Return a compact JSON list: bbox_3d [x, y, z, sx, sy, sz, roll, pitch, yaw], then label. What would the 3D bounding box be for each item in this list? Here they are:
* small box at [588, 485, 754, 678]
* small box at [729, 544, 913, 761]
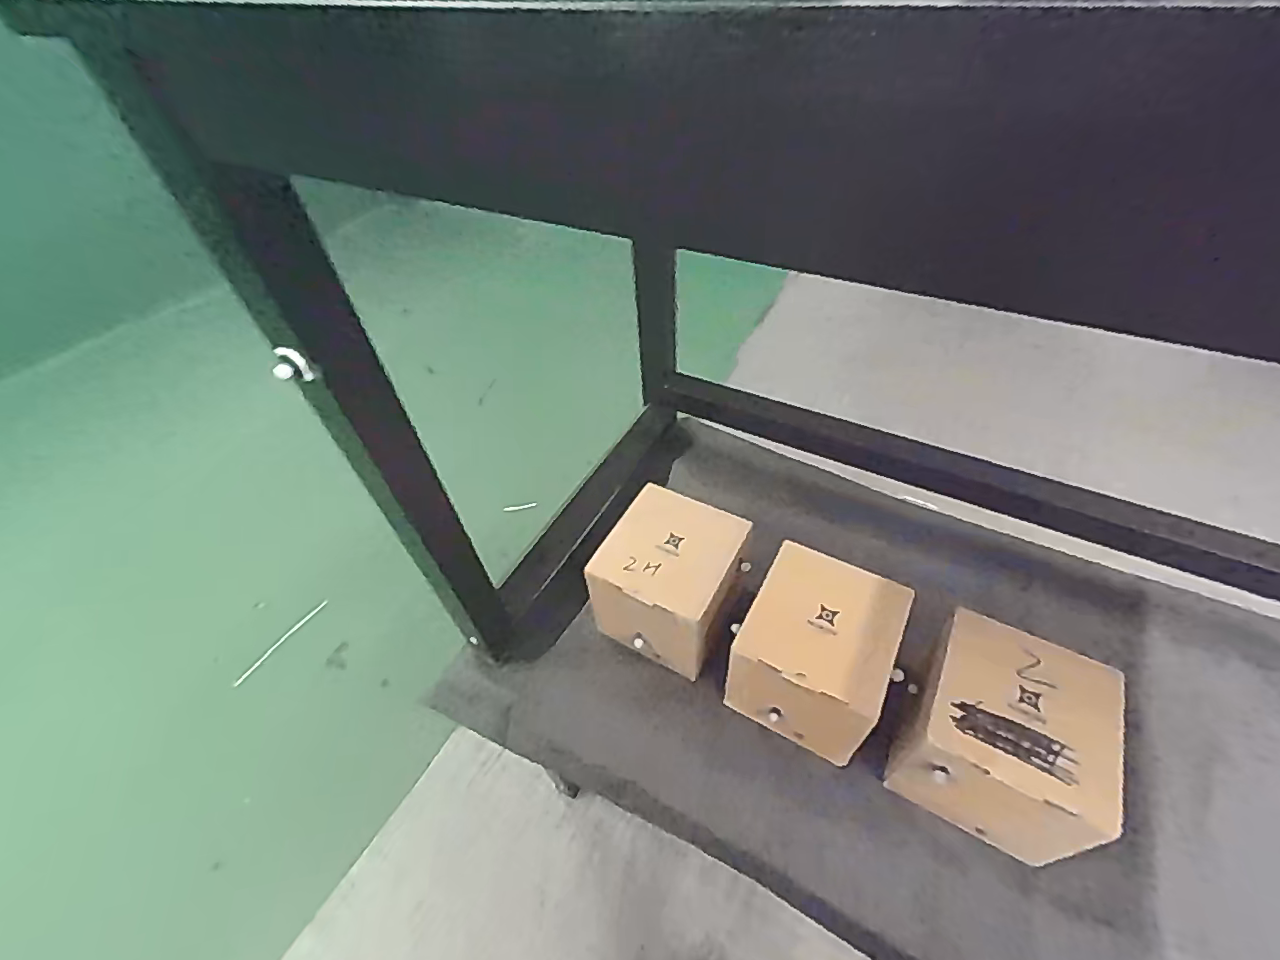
[{"bbox_3d":[0.045,0.145,0.775,0.168,0.176,0.179,22,52,22],"label":"small box"},{"bbox_3d":[0.222,0.221,0.696,0.168,0.176,0.179,22,53,22],"label":"small box"}]
